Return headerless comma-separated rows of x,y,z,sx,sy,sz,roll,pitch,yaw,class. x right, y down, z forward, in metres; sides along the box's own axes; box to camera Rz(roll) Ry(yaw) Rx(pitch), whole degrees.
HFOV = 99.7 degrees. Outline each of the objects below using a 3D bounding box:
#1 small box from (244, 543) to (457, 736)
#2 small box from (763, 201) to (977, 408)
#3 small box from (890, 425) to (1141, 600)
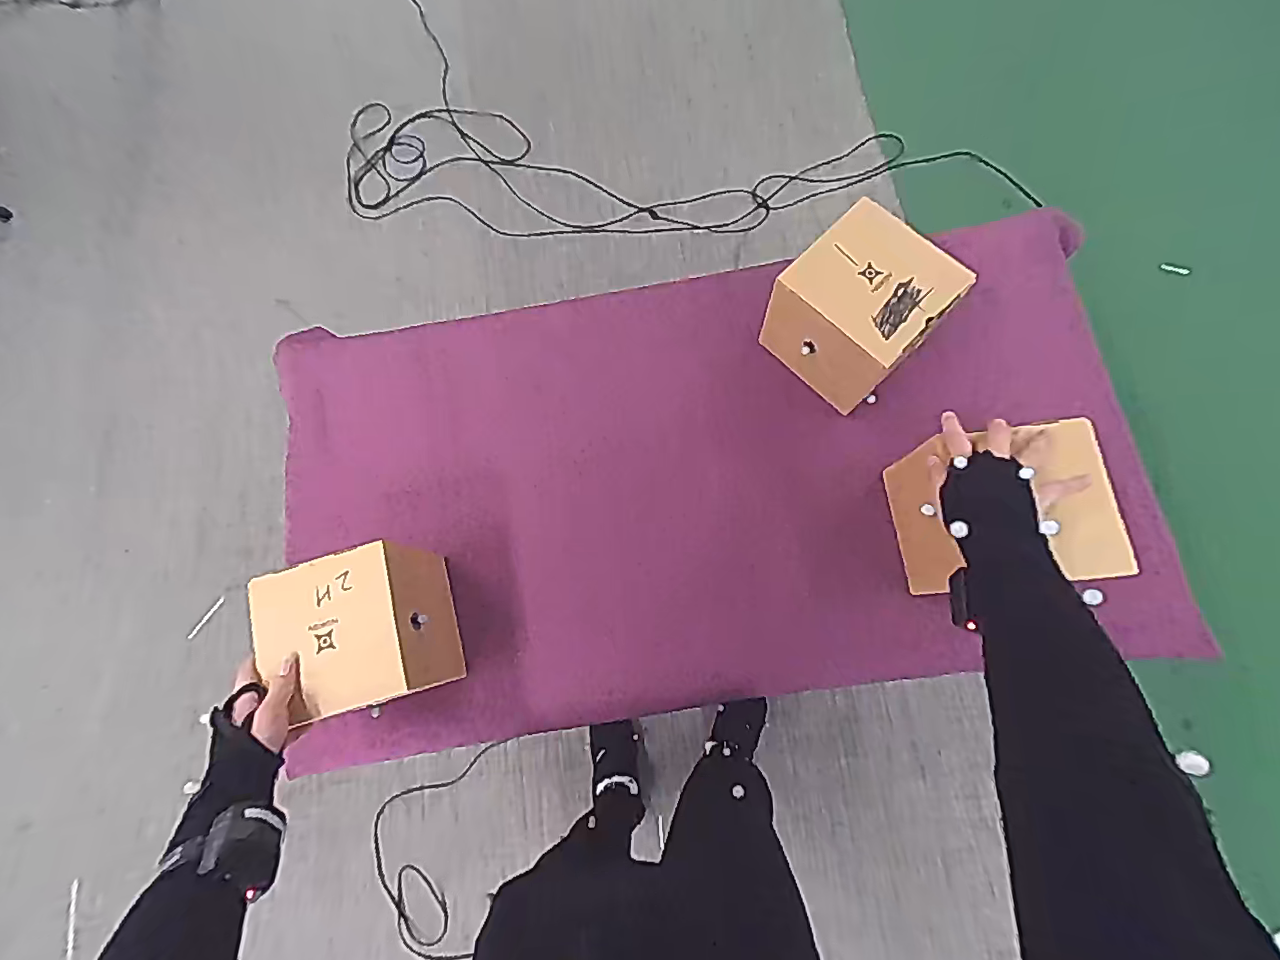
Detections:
-0.345,0.190,0.672,0.168,0.176,0.179,-16,75,0,small box
0.290,-0.219,0.728,0.168,0.176,0.179,-43,77,-6,small box
0.427,0.050,0.650,0.168,0.176,0.179,-6,75,2,small box
